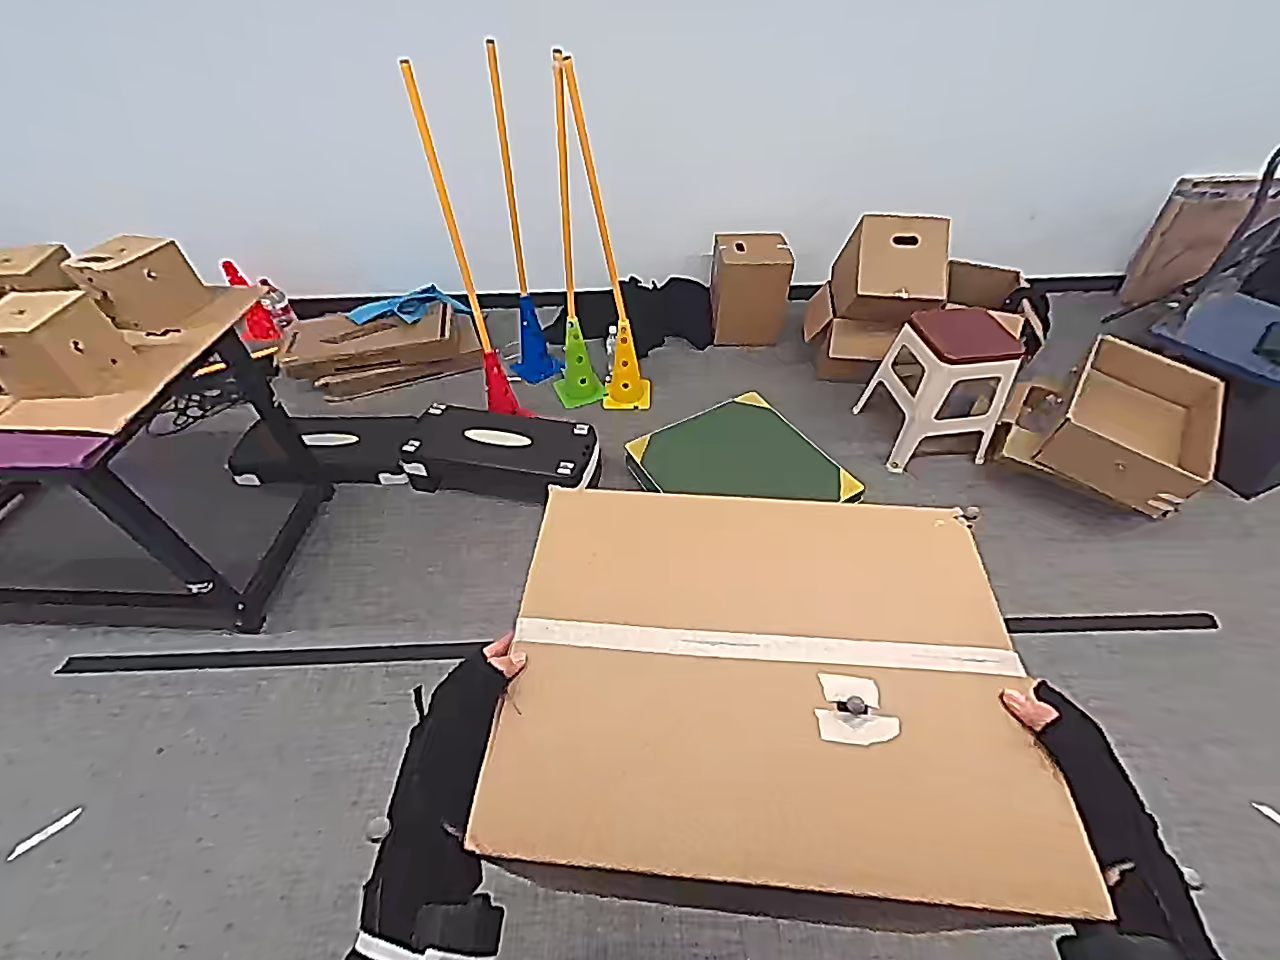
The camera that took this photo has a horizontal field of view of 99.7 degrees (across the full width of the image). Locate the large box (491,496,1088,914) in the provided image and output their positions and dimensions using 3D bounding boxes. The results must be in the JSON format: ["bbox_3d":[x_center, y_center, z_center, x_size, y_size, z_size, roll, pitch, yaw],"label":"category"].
[{"bbox_3d":[0.105,0.237,0.566,0.408,0.320,0.320,3,50,4],"label":"large box"}]
